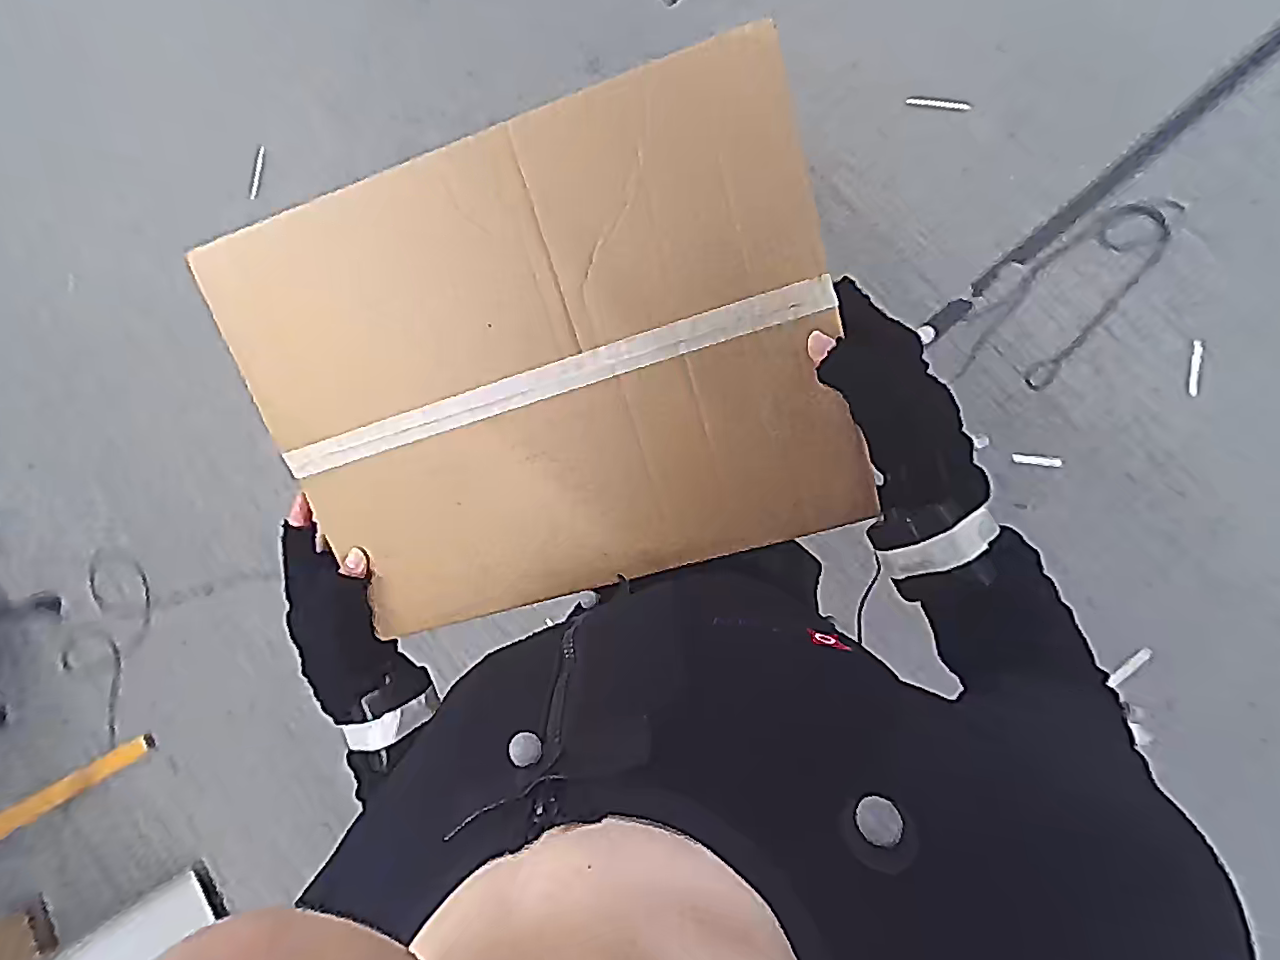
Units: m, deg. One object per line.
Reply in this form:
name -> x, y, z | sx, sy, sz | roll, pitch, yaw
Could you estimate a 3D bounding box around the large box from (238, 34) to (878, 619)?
large box -> -0.045, -0.112, 0.527 | 0.408, 0.320, 0.320 | -14, 105, 10
